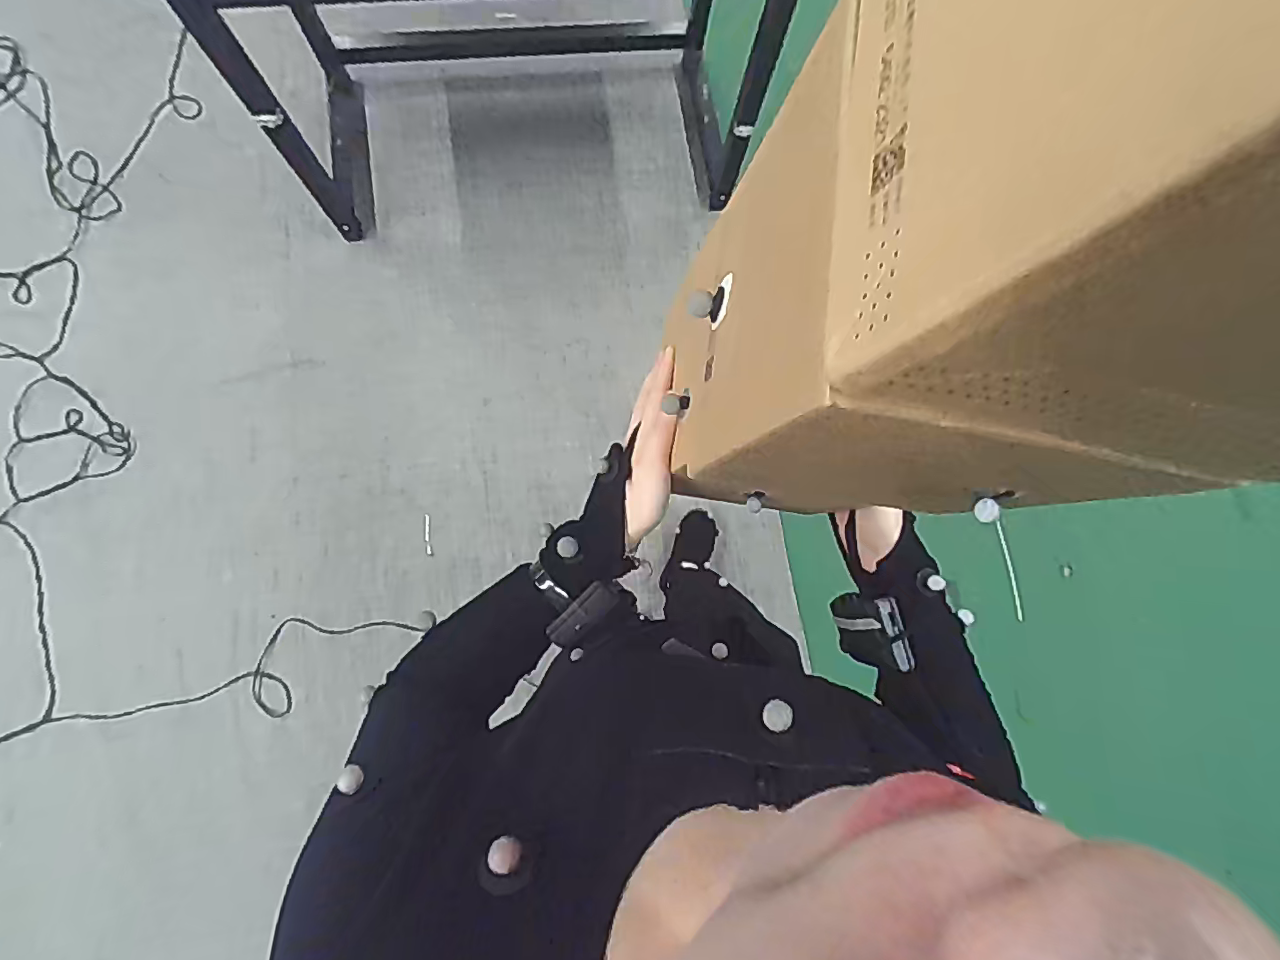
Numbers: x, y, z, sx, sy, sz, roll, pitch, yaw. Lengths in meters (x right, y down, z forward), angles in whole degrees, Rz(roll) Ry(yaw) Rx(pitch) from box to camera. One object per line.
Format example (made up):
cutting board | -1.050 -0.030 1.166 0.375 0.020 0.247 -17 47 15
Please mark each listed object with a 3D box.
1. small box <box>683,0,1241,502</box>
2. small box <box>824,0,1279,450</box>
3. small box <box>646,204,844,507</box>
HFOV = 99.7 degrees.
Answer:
small box | 0.133 -0.084 0.278 0.179 0.176 0.168 7 80 -9
small box | 0.162 -0.111 0.120 0.179 0.176 0.168 10 80 -10
small box | 0.105 -0.077 0.438 0.168 0.176 0.179 9 80 -10
